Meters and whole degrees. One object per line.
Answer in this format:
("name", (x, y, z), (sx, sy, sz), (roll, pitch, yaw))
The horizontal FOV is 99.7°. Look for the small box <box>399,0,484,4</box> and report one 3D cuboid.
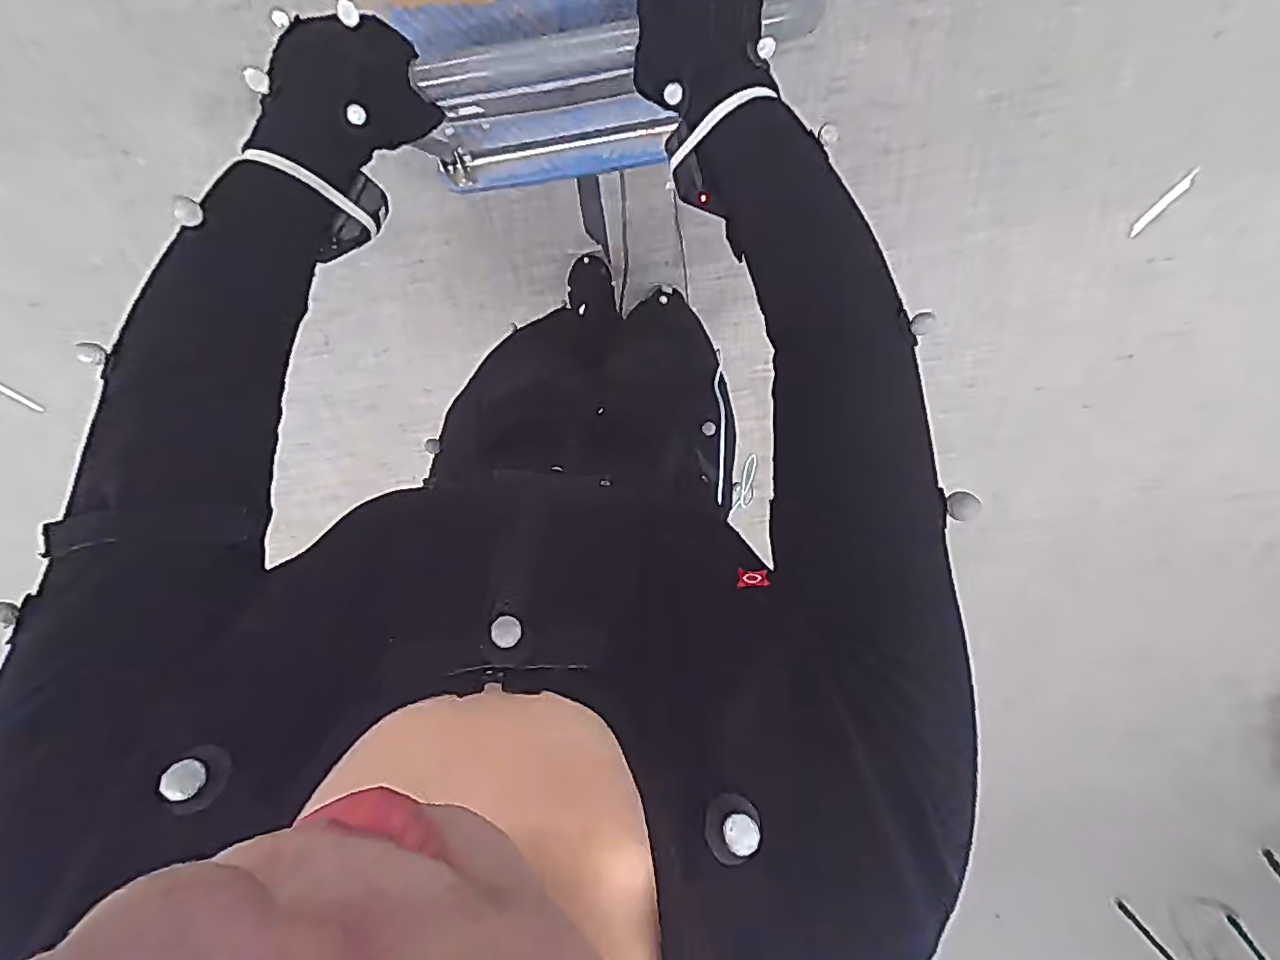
("small box", (-0.330, -0.848, 0.815), (0.179, 0.176, 0.168), (-3, 119, -1))
